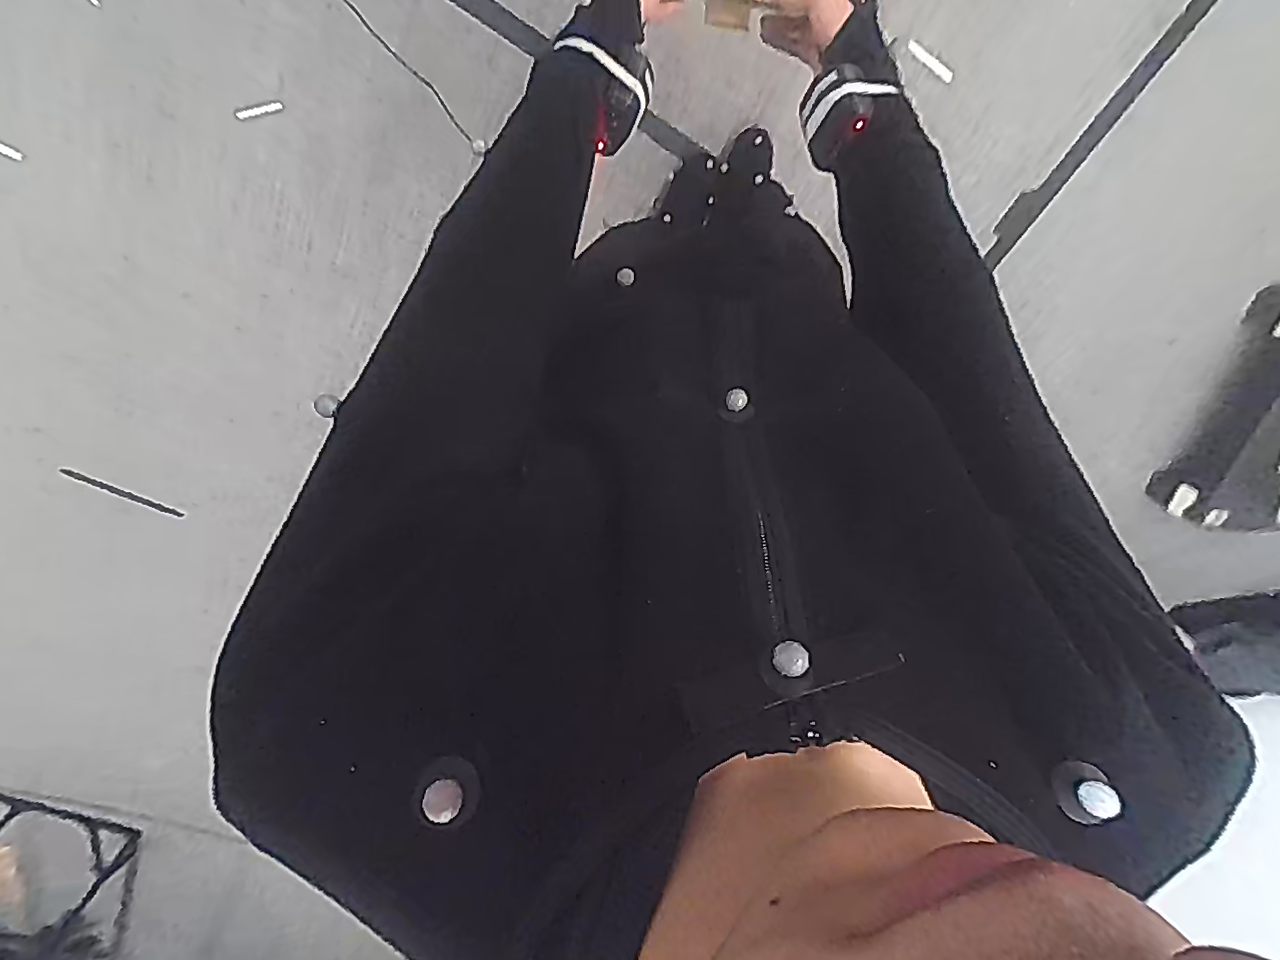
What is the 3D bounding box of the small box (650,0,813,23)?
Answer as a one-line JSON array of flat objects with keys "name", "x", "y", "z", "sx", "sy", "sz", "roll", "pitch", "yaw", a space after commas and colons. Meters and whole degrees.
[{"name": "small box", "x": 0.089, "y": -0.562, "z": 0.516, "sx": 0.168, "sy": 0.176, "sz": 0.179, "roll": 5, "pitch": 131, "yaw": -4}]
